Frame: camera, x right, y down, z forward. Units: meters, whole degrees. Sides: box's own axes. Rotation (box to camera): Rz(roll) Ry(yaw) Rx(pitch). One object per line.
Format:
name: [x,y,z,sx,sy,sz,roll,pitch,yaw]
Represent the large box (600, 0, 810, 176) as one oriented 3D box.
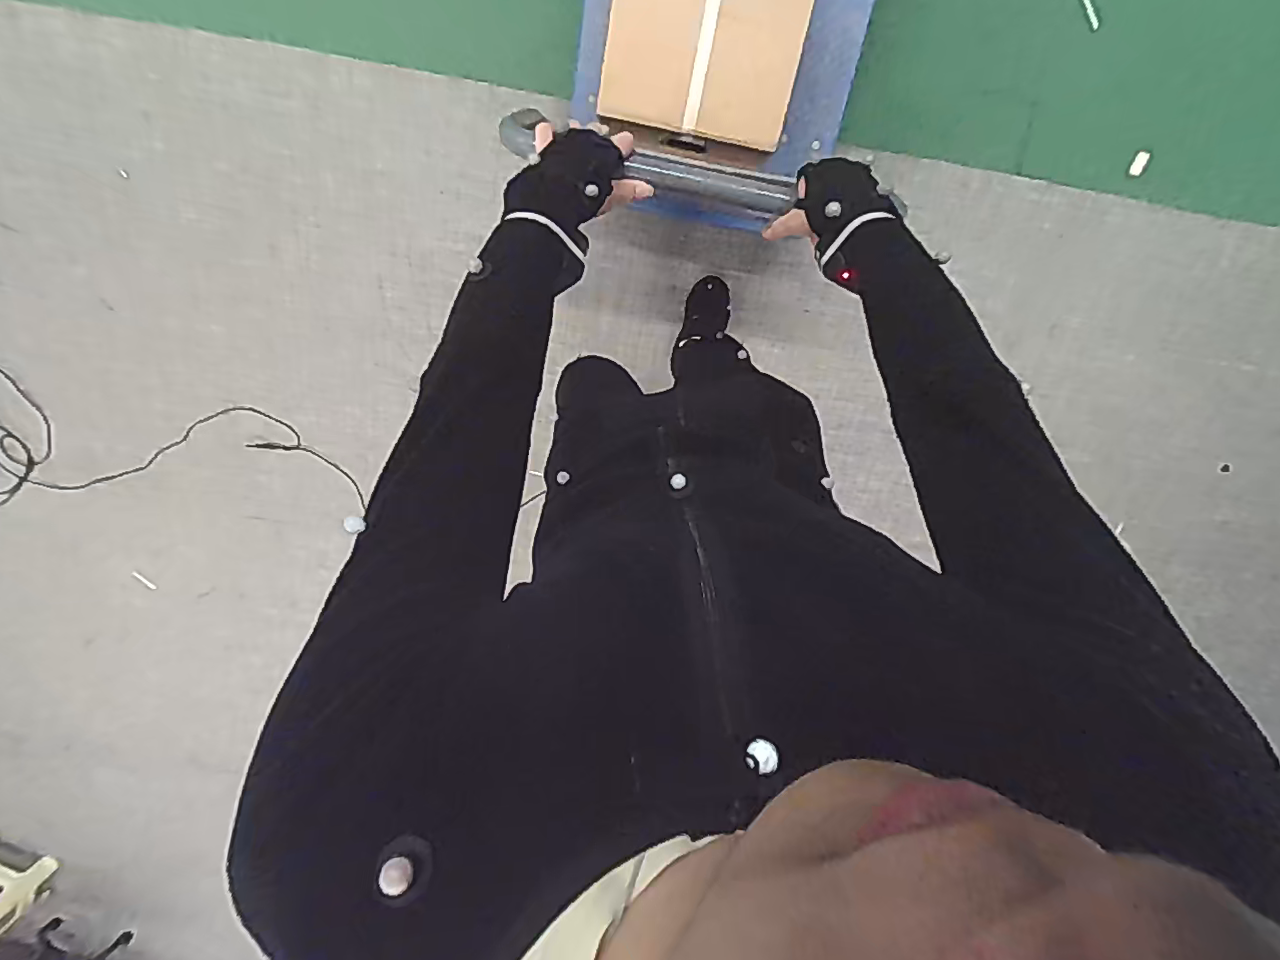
large box: [0.123,-0.823,0.984,0.320,0.320,0.408,11,111,-1]
